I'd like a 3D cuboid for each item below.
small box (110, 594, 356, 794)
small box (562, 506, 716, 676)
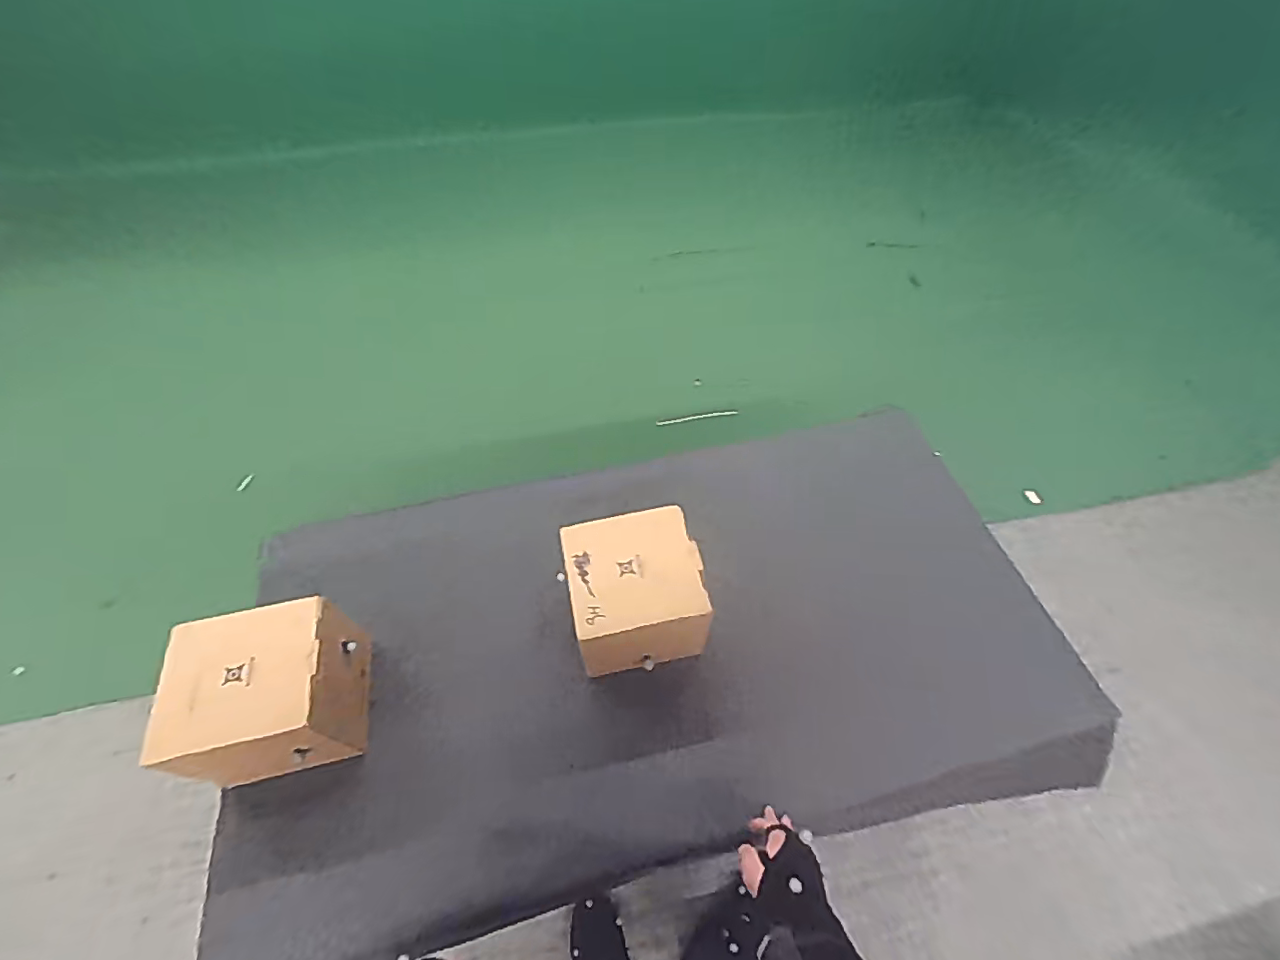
[{"bbox_3d":[-0.469,0.264,0.663,0.179,0.176,0.168,-12,54,-11],"label":"small box"},{"bbox_3d":[-0.011,0.160,0.768,0.179,0.176,0.168,-9,55,-11],"label":"small box"}]
